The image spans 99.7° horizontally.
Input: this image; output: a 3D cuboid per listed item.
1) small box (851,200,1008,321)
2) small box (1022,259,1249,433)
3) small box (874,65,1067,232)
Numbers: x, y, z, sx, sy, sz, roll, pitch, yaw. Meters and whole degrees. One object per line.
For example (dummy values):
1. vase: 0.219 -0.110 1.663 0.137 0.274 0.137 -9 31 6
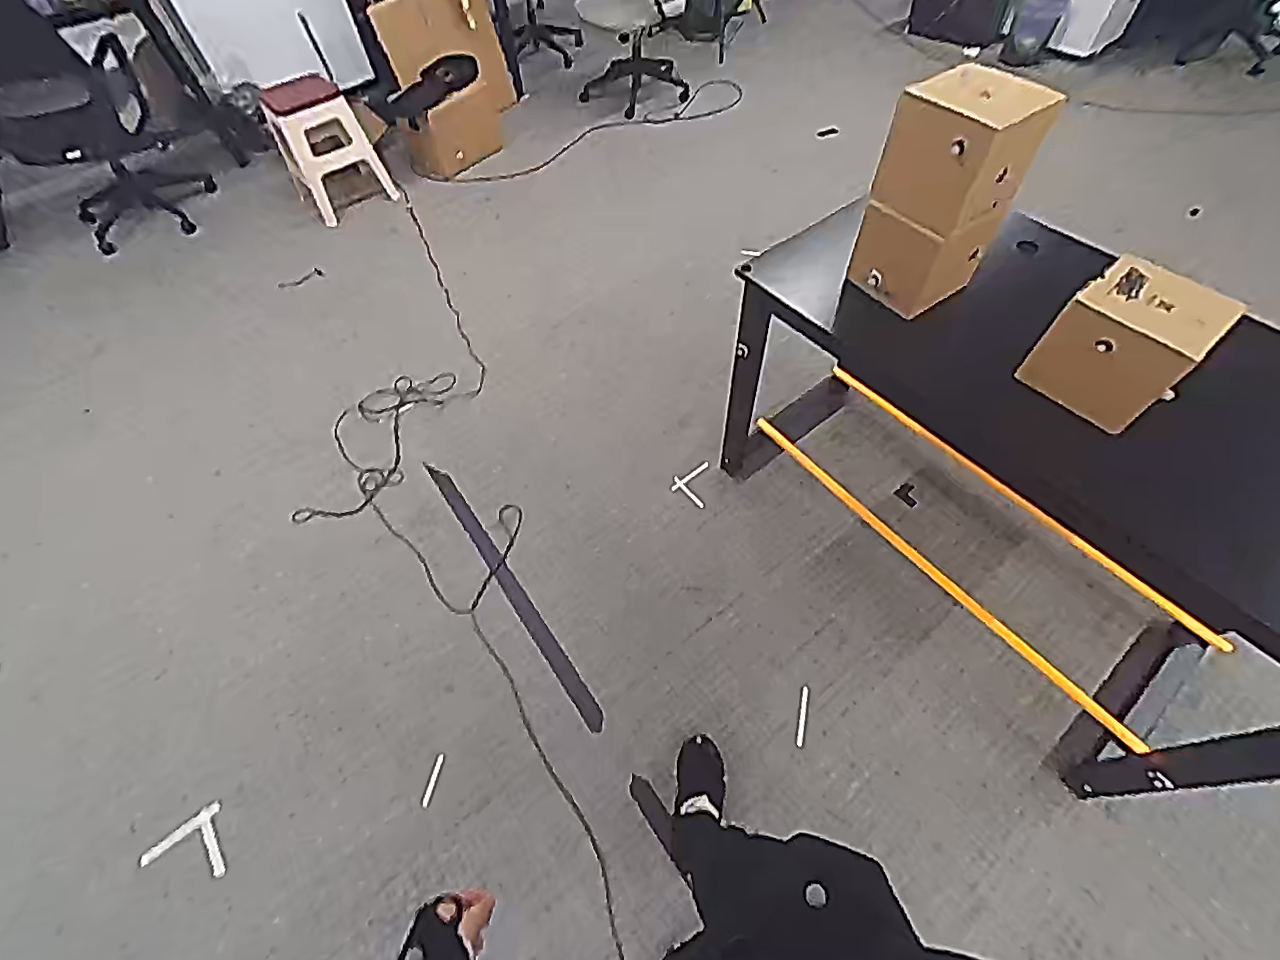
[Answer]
1. small box: 0.530 -0.437 1.019 0.179 0.176 0.168 -32 60 -16
2. small box: 0.762 -0.208 0.854 0.168 0.176 0.179 -35 62 -18
3. small box: 0.525 -0.534 0.886 0.168 0.176 0.179 -31 59 -17
